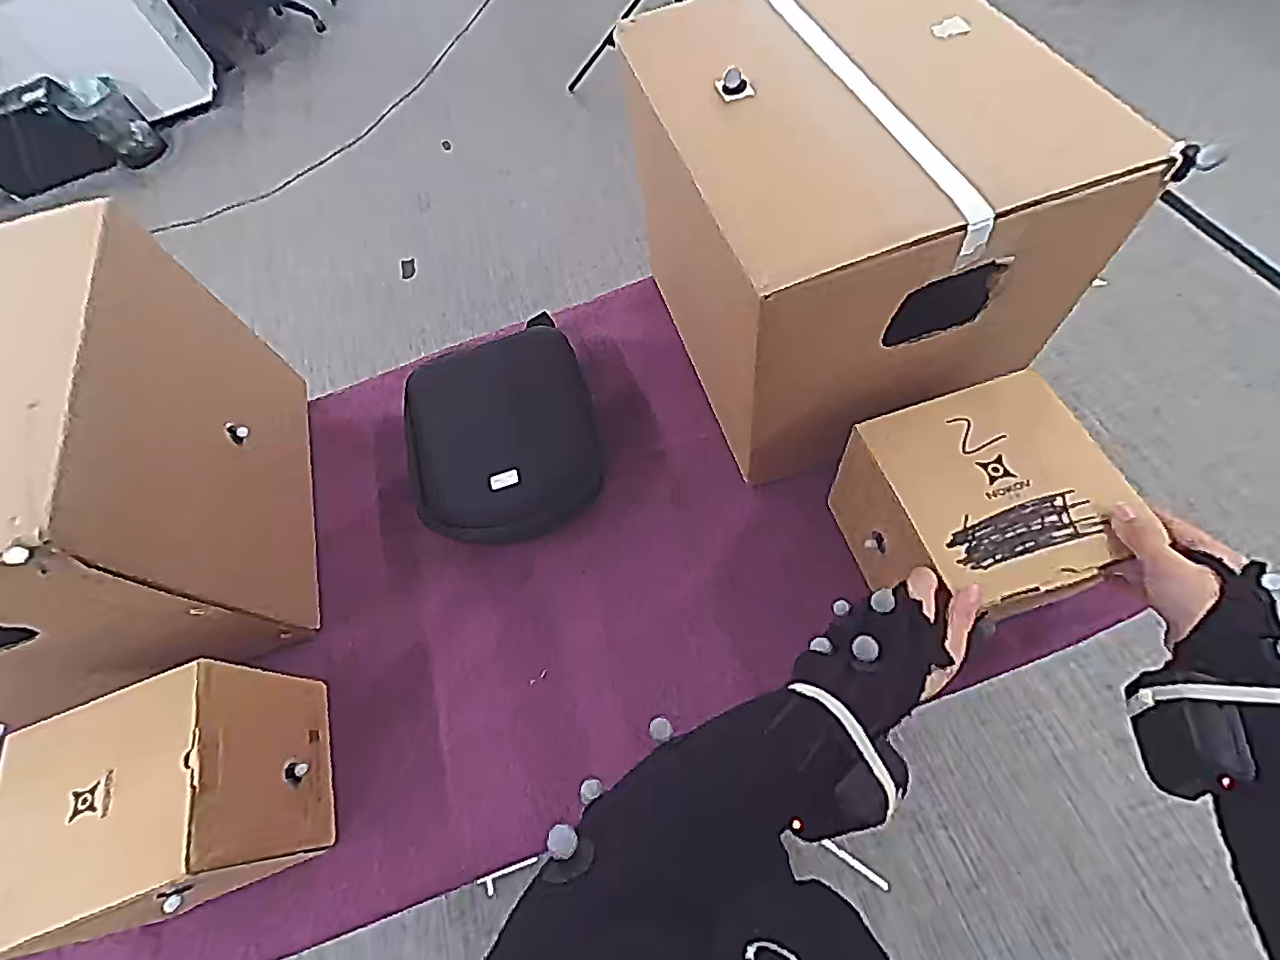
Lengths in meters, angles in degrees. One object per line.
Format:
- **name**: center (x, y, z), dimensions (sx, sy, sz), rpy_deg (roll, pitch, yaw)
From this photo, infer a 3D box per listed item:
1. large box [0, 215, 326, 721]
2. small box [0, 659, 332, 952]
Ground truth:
- **large box**: center (-0.598, 0.004, 0.593), dimensions (0.320, 0.320, 0.408), rpy_deg (-21, 64, -3)
- **small box**: center (-0.423, 0.291, 0.500), dimensions (0.179, 0.176, 0.168), rpy_deg (-22, 61, -3)
